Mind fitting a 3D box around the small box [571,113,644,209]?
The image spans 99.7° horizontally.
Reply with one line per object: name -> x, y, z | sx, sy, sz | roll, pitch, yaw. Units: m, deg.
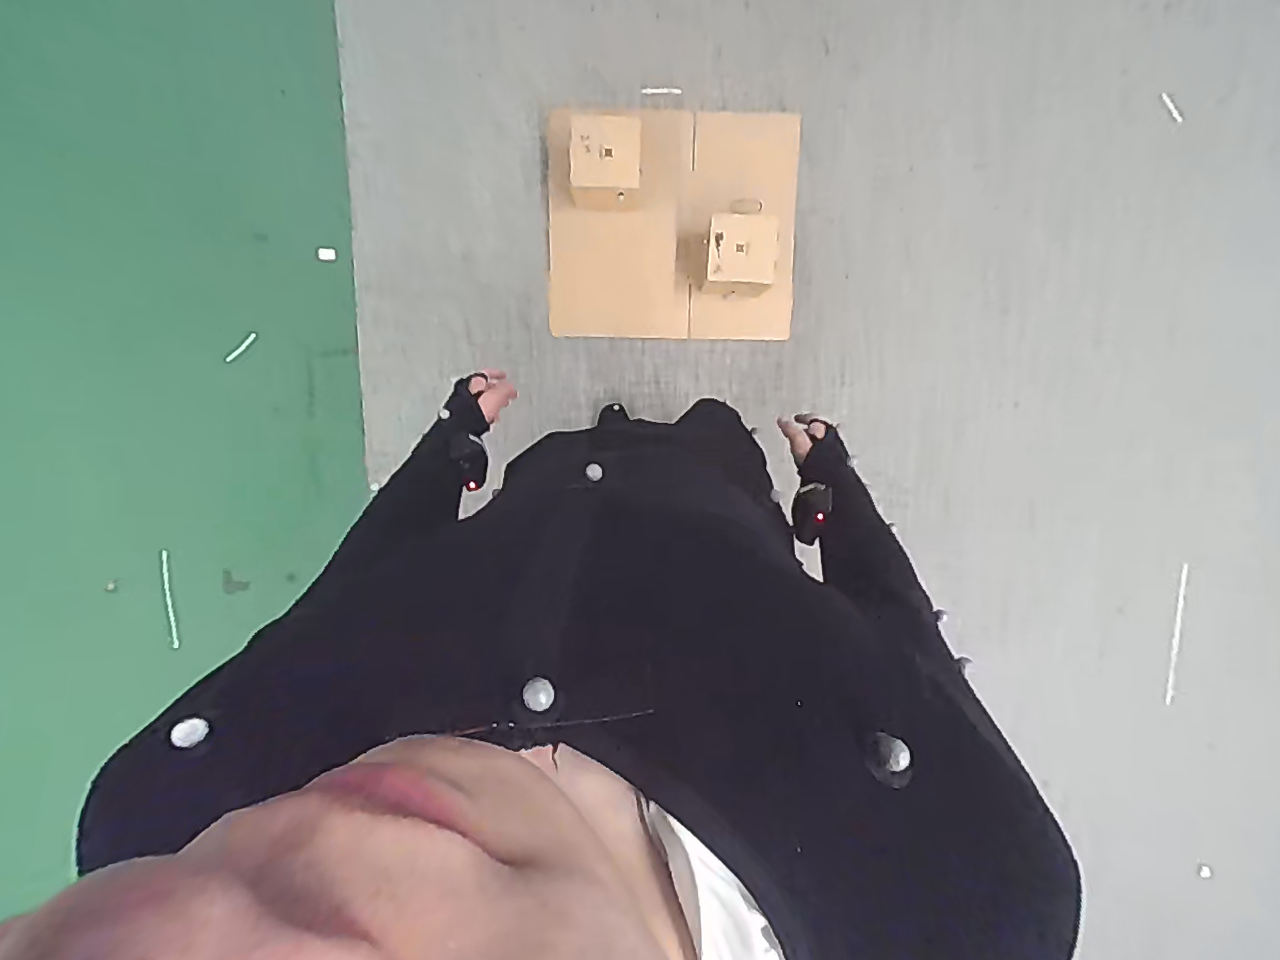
small box -> -0.081, -0.822, 1.409 | 0.179, 0.176, 0.168 | 2, 98, 0

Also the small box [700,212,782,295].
small box -> 0.265, -0.599, 1.450 | 0.179, 0.176, 0.168 | 4, 98, -1
